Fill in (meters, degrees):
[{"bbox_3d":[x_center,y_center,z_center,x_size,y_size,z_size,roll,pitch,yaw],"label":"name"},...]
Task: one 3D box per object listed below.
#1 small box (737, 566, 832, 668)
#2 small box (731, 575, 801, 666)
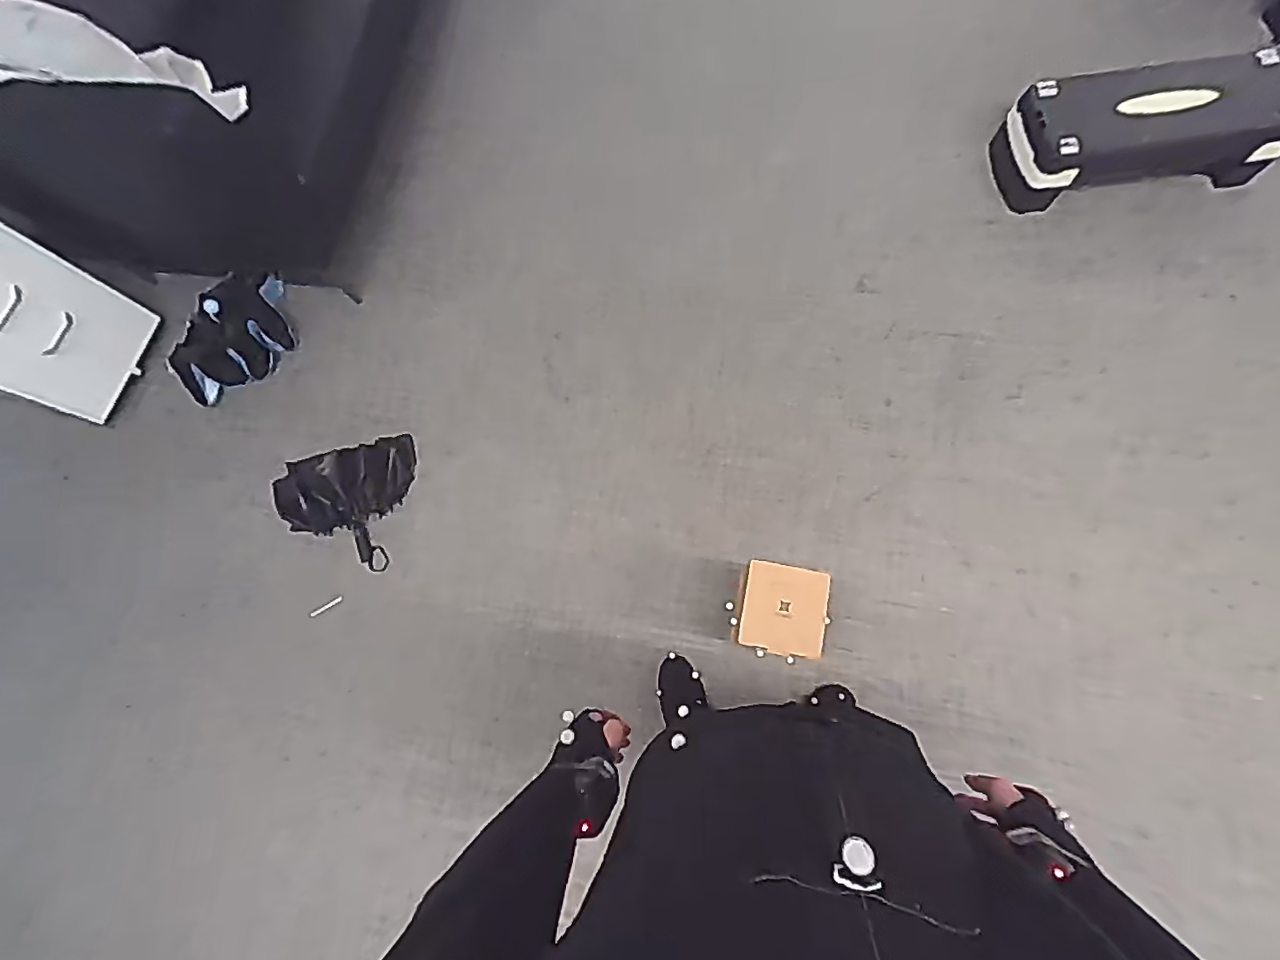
[{"bbox_3d":[0.306,0.297,1.172,0.168,0.176,0.179,9,74,8],"label":"small box"},{"bbox_3d":[0.320,0.345,1.327,0.168,0.176,0.179,11,76,10],"label":"small box"}]
